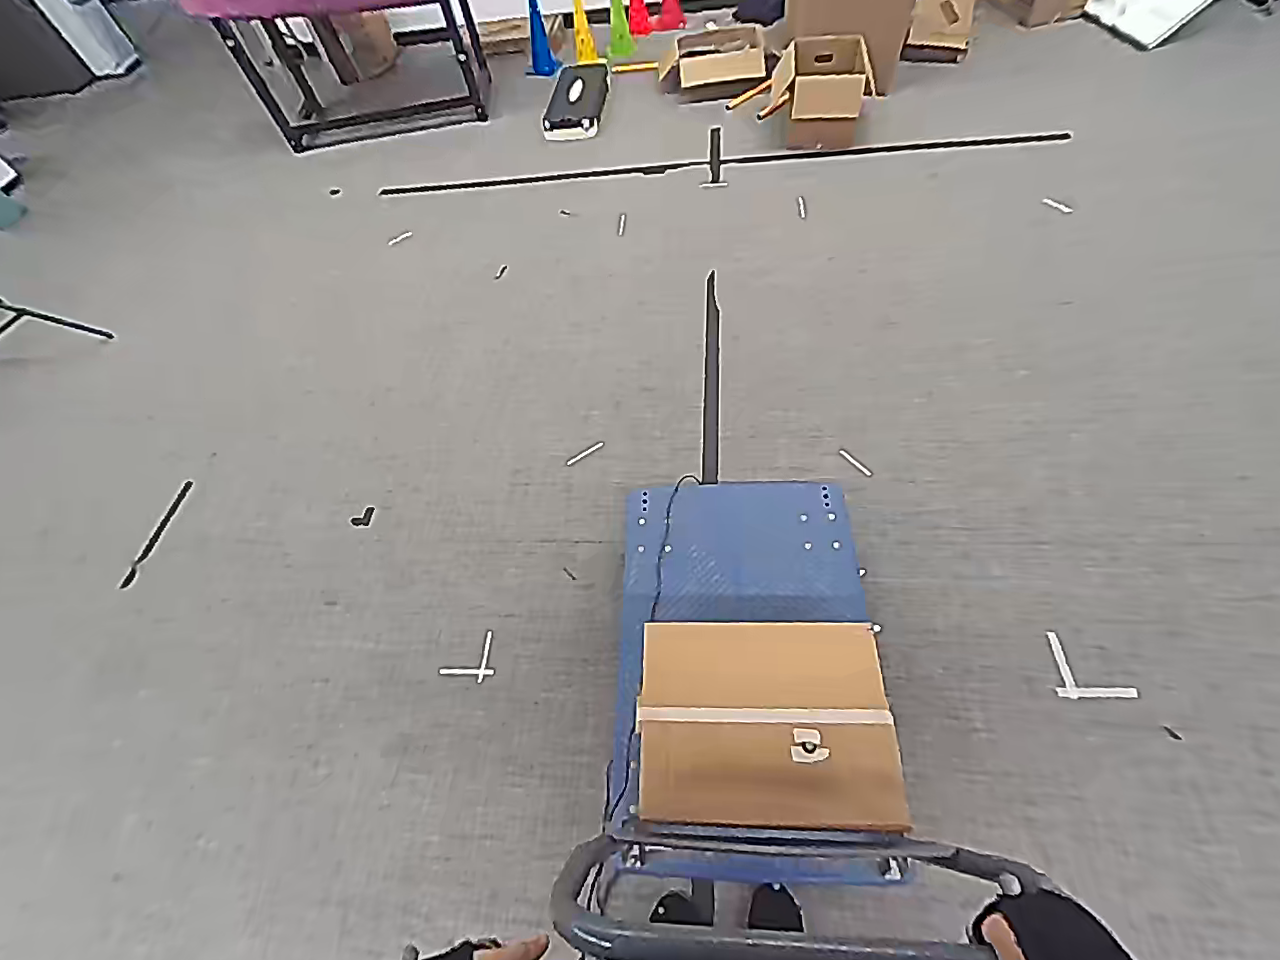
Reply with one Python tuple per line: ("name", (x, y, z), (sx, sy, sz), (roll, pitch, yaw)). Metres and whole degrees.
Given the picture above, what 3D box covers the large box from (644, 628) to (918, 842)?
("large box", (0.217, 0.474, 0.994), (0.408, 0.320, 0.320), (-2, 58, 5))
